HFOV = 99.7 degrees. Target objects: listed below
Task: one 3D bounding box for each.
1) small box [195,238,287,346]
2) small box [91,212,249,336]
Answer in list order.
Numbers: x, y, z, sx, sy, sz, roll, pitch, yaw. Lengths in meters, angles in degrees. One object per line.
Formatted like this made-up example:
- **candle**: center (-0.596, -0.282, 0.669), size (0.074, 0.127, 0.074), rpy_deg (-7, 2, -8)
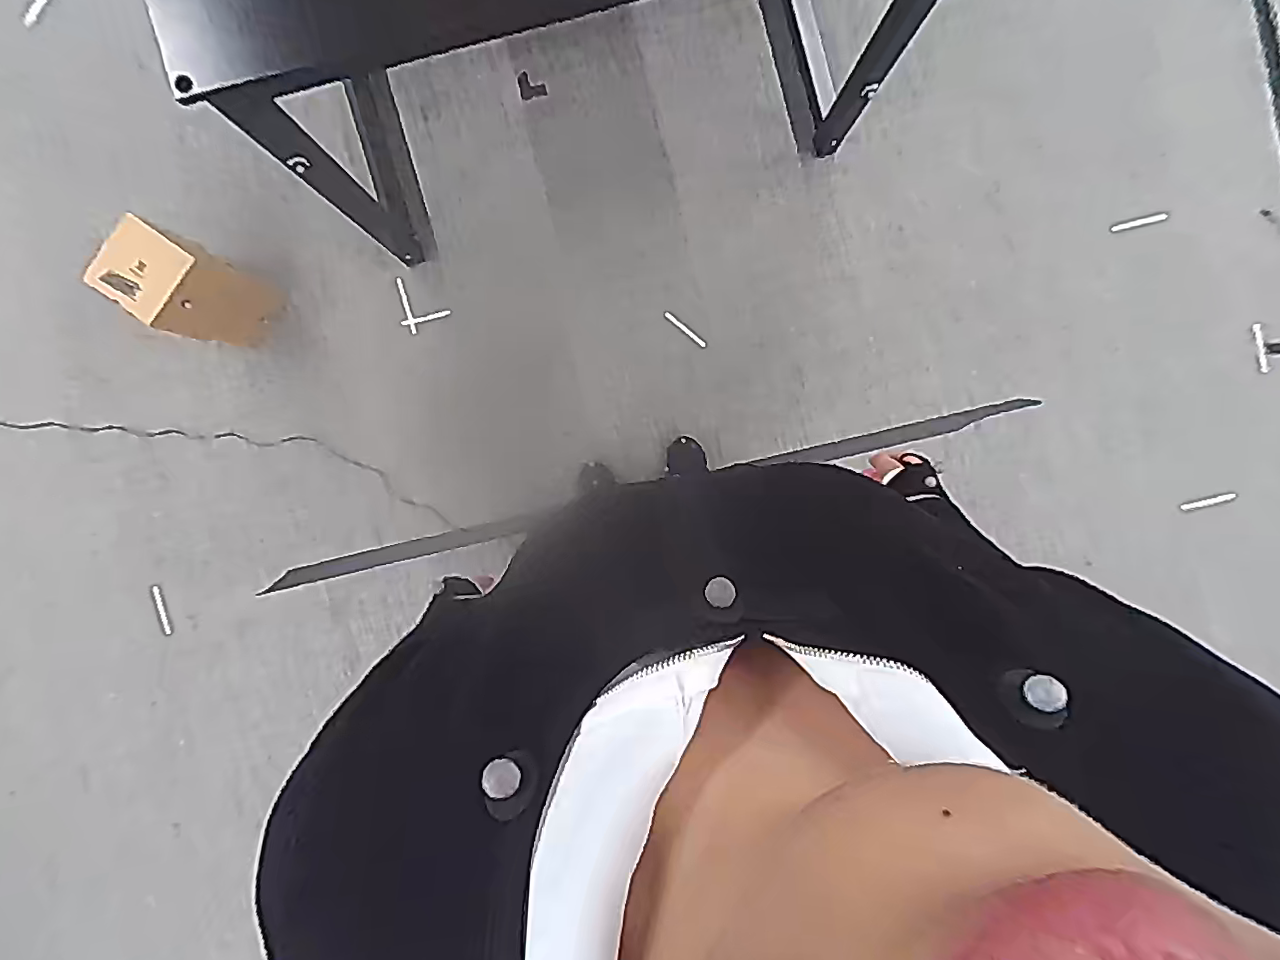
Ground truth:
- **small box**: center (-1.046, -0.467, 1.373), size (0.168, 0.176, 0.179), rpy_deg (34, 92, -3)
- **small box**: center (-1.035, -0.447, 1.209), size (0.168, 0.176, 0.179), rpy_deg (36, 92, -3)
